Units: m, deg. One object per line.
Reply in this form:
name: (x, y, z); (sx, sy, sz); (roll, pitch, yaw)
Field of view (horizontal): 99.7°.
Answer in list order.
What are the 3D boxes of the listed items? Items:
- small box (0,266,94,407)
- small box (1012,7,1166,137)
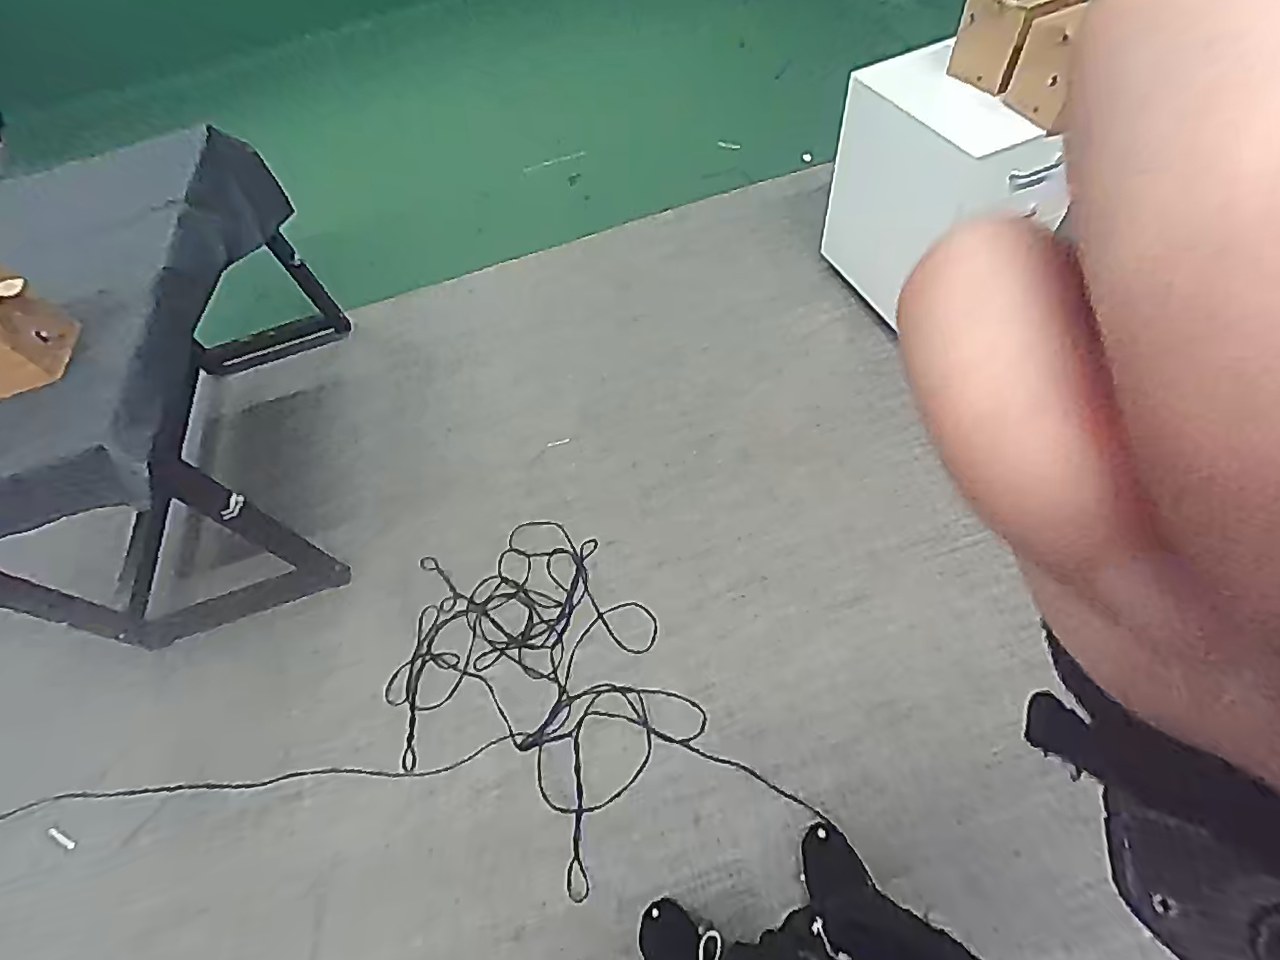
small box: (-1.194, -0.256, 1.001); (0.179, 0.176, 0.168); (-19, 56, -3)
small box: (0.966, -0.892, 1.191); (0.179, 0.176, 0.168); (-18, 57, -3)
